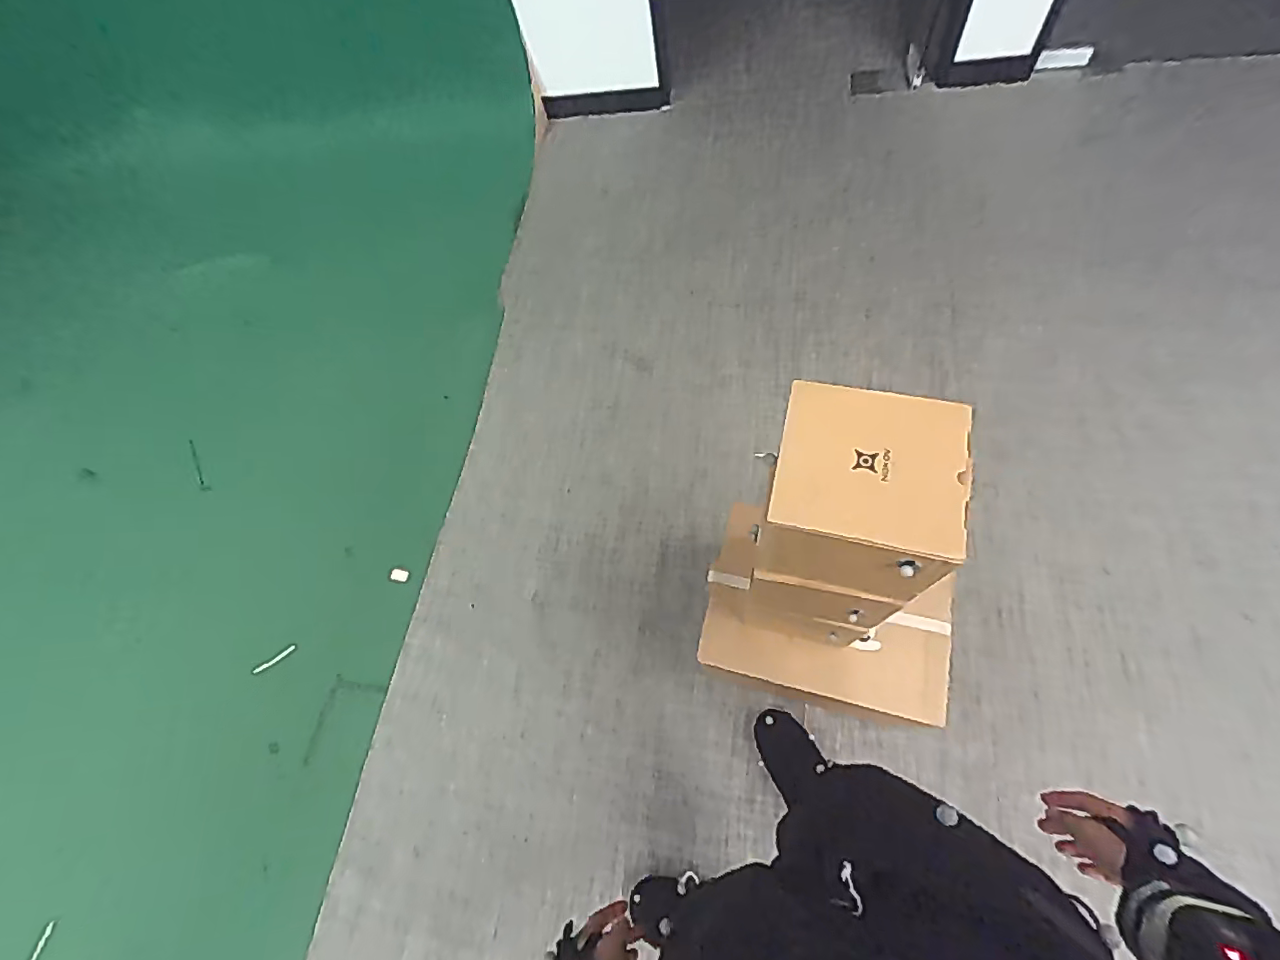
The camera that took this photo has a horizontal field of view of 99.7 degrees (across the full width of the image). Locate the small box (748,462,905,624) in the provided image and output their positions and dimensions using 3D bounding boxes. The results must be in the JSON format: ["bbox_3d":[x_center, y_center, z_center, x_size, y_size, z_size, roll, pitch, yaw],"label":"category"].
[{"bbox_3d":[0.247,0.090,0.736,0.179,0.176,0.168,7,66,14],"label":"small box"}]

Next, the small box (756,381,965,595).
[{"bbox_3d":[0.228,0.016,0.592,0.179,0.176,0.168,11,67,13],"label":"small box"}]

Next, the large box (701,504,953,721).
[{"bbox_3d":[0.351,0.273,1.087,0.408,0.320,0.320,10,69,13],"label":"large box"}]
